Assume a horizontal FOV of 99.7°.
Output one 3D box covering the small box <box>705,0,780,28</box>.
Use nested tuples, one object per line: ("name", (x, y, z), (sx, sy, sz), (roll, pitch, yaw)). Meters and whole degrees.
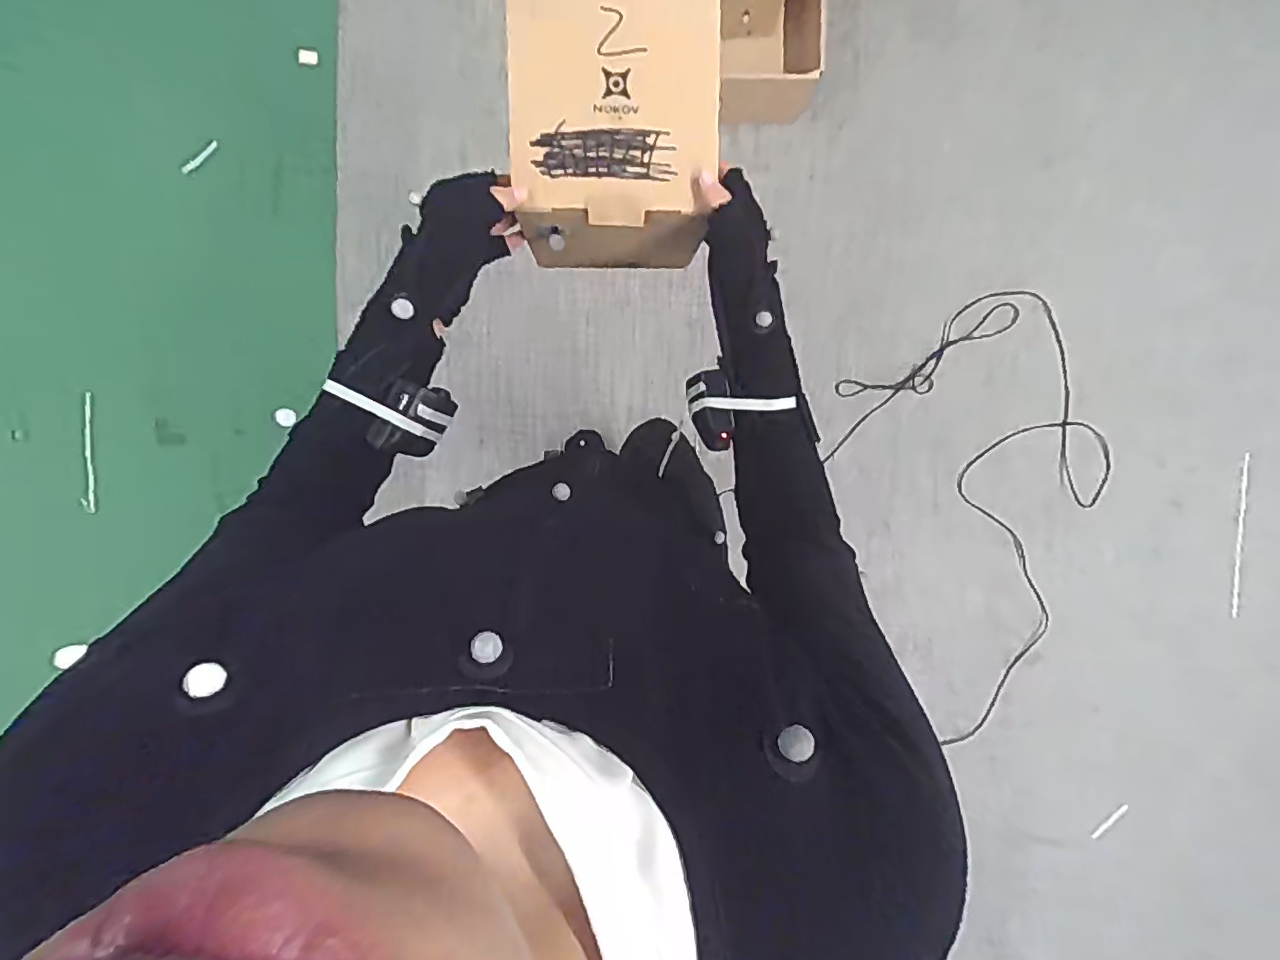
("small box", (0.244, -1.193, 1.254), (0.168, 0.176, 0.179), (-4, 94, 0))
